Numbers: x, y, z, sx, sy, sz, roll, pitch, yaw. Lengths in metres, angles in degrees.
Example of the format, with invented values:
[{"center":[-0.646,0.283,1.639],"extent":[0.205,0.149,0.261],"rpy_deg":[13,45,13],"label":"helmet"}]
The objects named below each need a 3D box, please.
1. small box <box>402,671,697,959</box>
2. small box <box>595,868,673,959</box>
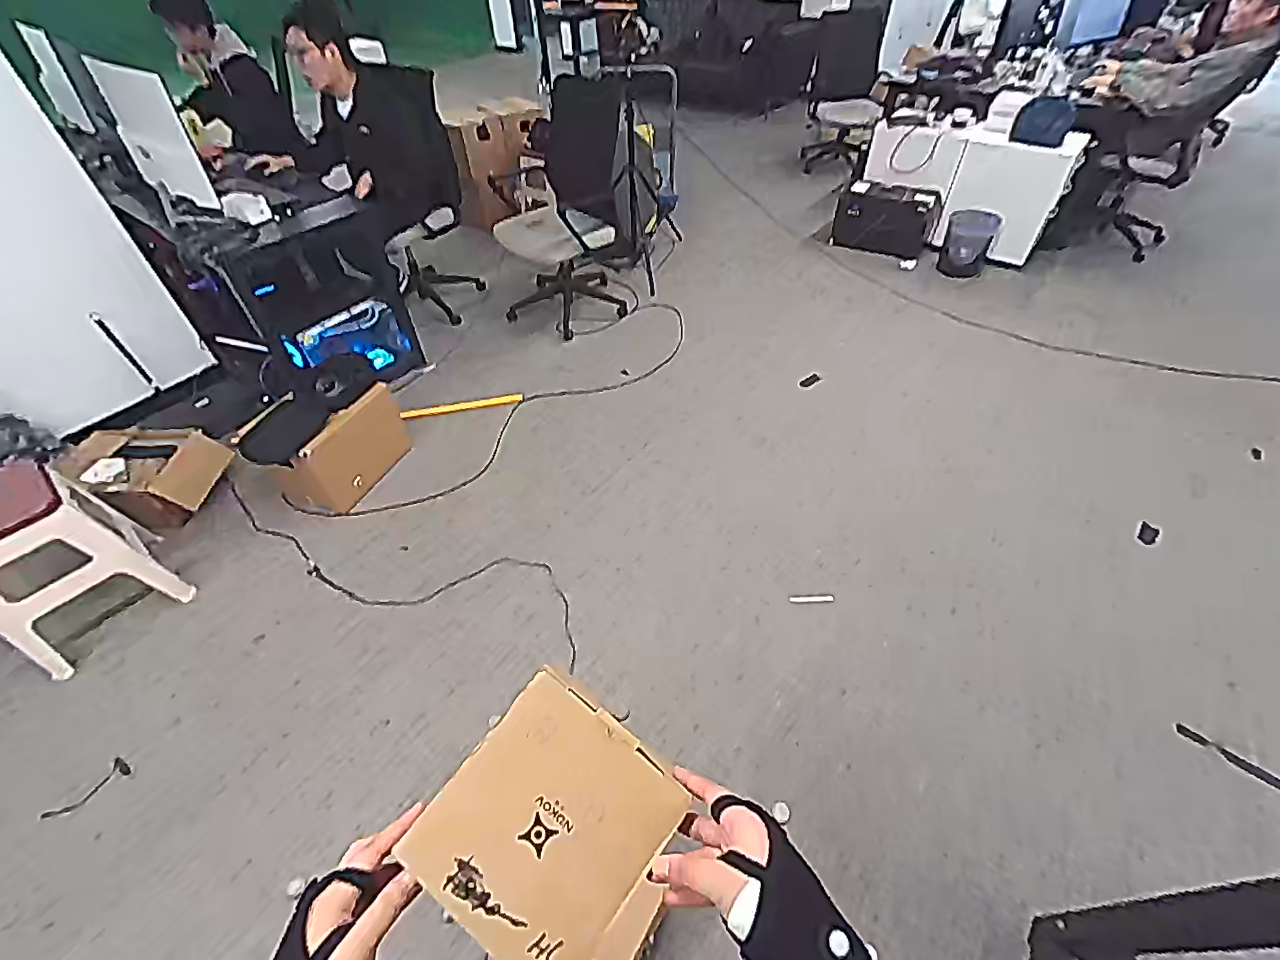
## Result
[{"center":[-0.074,0.298,0.499],"extent":[0.168,0.176,0.179],"rpy_deg":[38,73,10],"label":"small box"},{"center":[-0.051,0.786,0.991],"extent":[0.168,0.176,0.179],"rpy_deg":[24,50,22],"label":"small box"}]
